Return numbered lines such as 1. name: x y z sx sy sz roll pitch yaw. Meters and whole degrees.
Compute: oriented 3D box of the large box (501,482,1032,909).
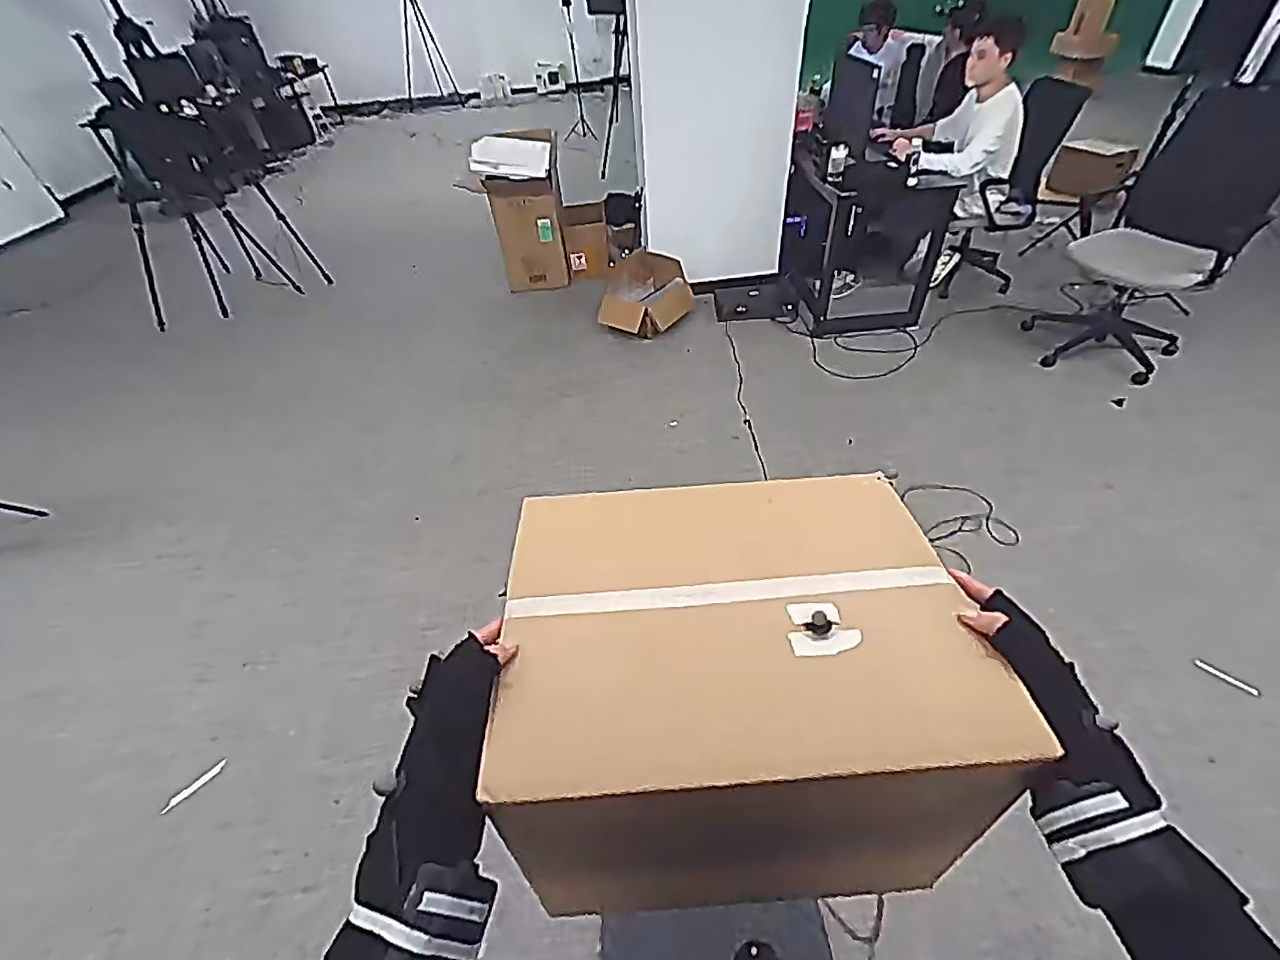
1. large box: 0.091 0.229 0.600 0.408 0.320 0.320 -4 40 -1
